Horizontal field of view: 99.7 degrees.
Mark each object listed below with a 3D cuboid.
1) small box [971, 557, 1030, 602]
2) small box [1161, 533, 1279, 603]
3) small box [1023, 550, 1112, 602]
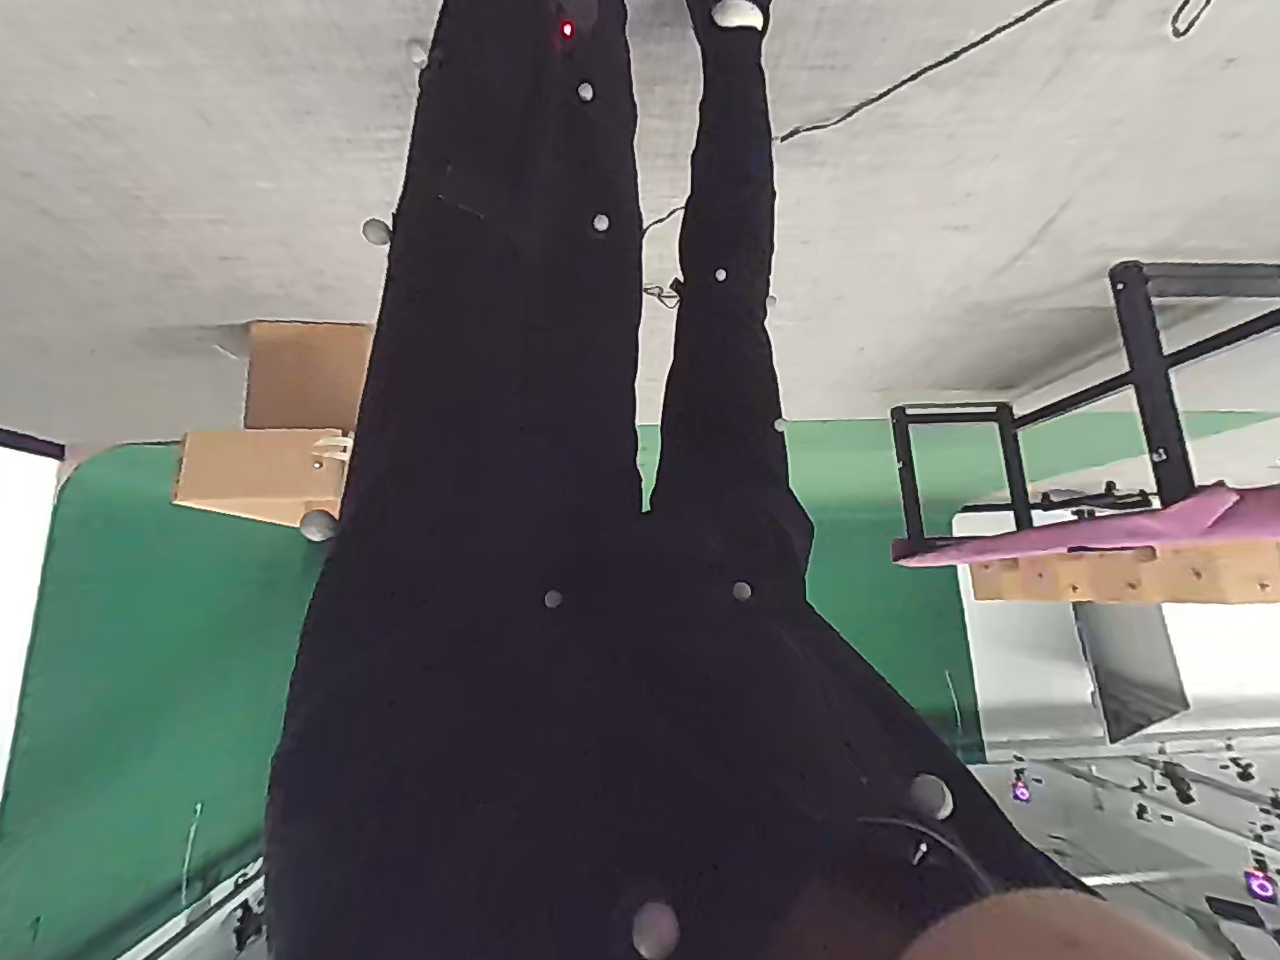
[{"bbox_3d":[1.473,0.397,2.167,0.179,0.176,0.168,0,167,-9],"label":"small box"},{"bbox_3d":[1.544,0.235,1.426,0.179,0.176,0.168,-2,168,-2],"label":"small box"},{"bbox_3d":[1.503,0.343,1.914,0.179,0.176,0.168,0,168,-8],"label":"small box"}]
